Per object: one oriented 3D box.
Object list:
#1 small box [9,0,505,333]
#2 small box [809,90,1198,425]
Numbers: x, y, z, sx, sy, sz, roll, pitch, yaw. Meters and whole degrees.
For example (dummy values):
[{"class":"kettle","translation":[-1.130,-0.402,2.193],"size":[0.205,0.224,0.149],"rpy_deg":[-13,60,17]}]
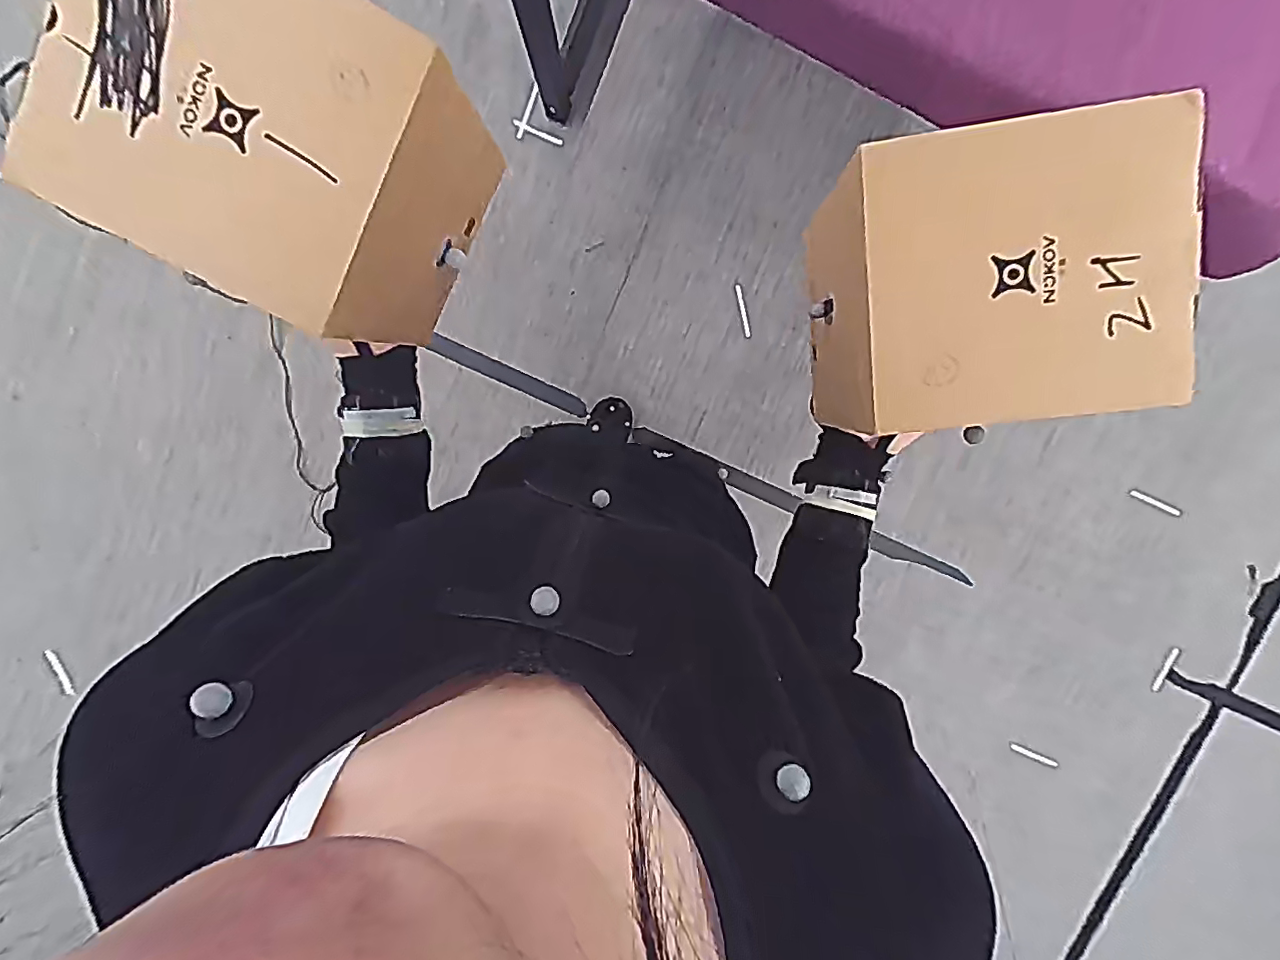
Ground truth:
[{"class":"small box","translation":[-0.213,-0.207,0.353],"size":[0.179,0.176,0.168],"rpy_deg":[27,100,-8]},{"class":"small box","translation":[0.224,-0.130,0.384],"size":[0.179,0.176,0.168],"rpy_deg":[-6,99,6]}]
